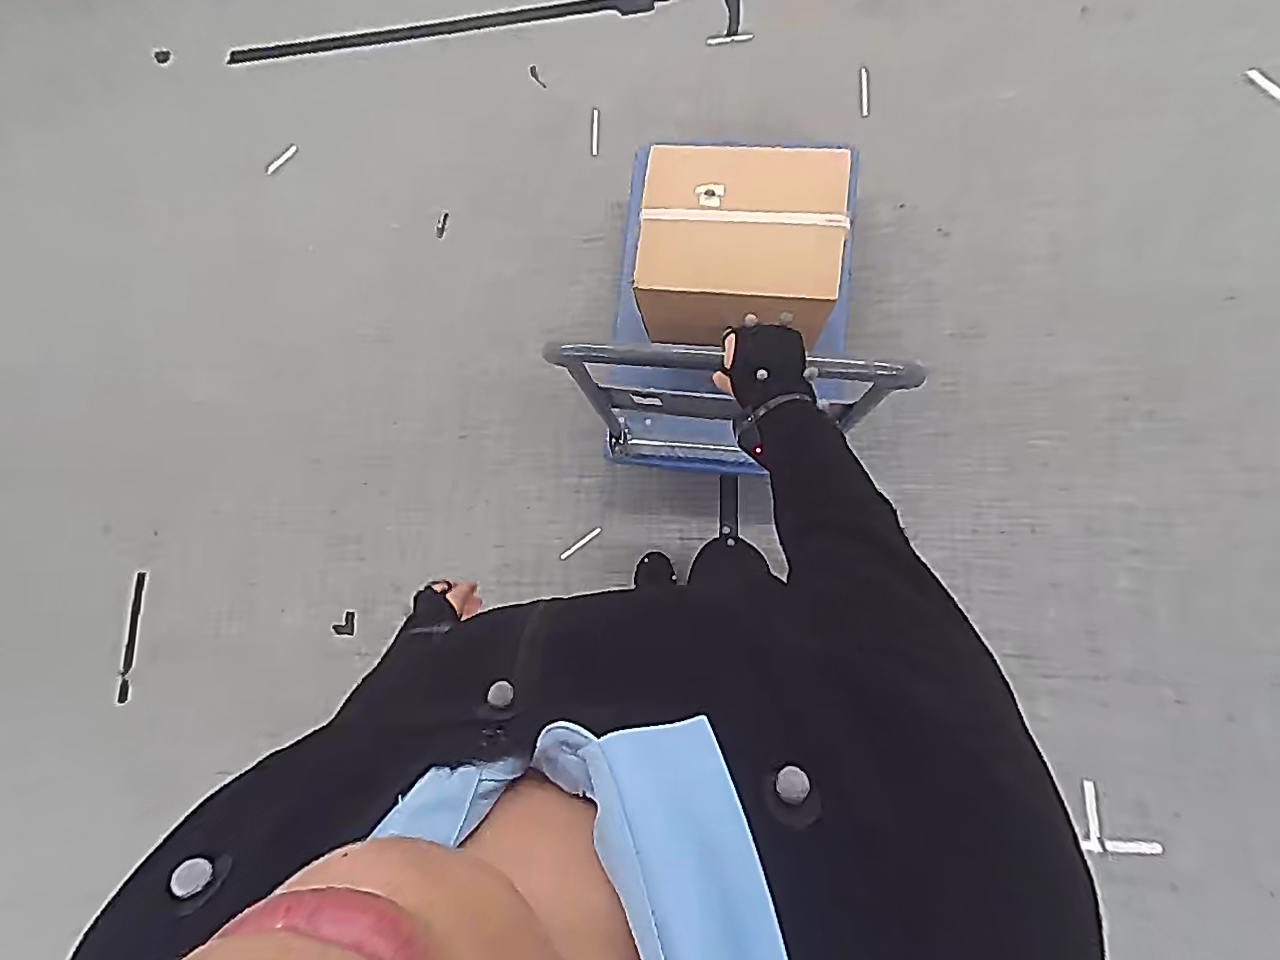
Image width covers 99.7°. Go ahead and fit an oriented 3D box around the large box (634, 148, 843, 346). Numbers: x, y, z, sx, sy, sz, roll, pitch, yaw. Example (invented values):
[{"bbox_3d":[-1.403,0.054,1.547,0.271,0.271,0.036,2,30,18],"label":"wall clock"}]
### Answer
[{"bbox_3d":[0.222,-0.510,1.240,0.408,0.320,0.320,5,84,9],"label":"large box"}]
